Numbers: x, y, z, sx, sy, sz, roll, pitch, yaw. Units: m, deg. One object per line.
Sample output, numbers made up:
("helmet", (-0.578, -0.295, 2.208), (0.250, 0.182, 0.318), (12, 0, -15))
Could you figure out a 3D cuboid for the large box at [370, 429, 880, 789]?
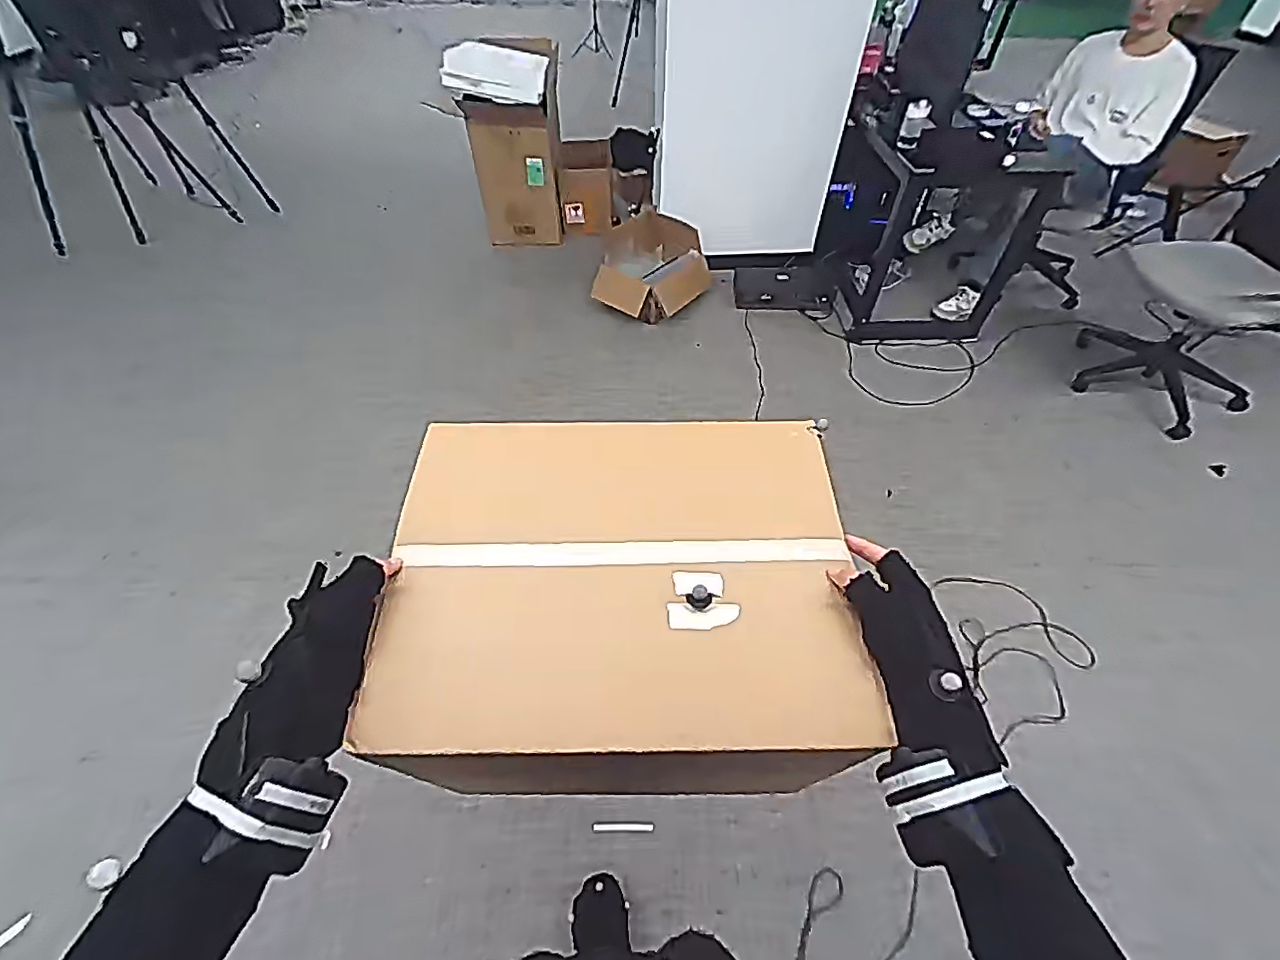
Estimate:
("large box", (-0.015, 0.156, 0.620), (0.408, 0.320, 0.320), (0, 55, -1))
